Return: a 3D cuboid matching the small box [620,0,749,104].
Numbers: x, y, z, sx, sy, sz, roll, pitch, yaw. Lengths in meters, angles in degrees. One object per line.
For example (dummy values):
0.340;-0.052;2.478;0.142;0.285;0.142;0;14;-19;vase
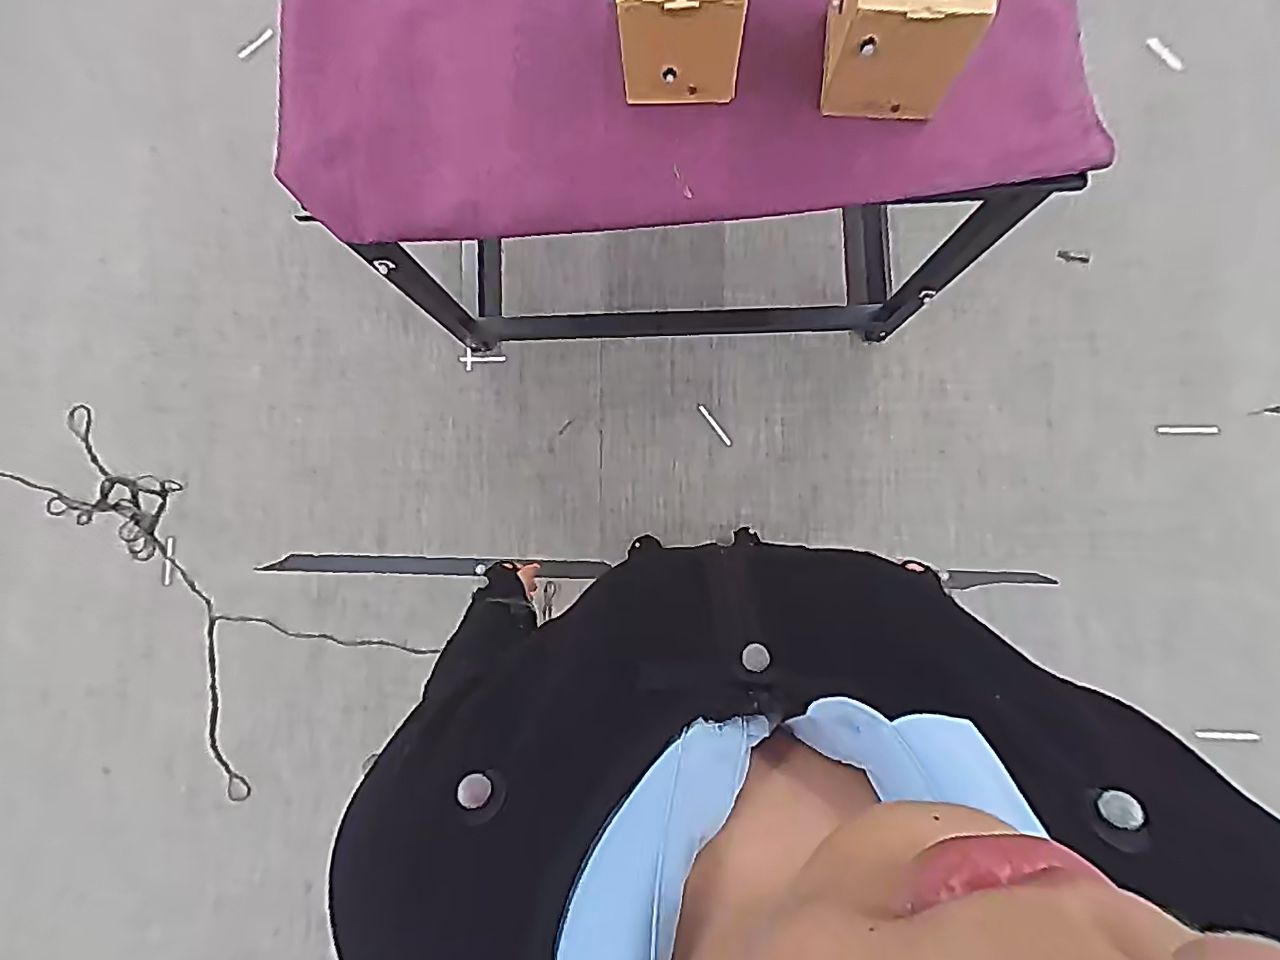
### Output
0.061;-0.676;0.762;0.168;0.176;0.179;1;86;3;small box
